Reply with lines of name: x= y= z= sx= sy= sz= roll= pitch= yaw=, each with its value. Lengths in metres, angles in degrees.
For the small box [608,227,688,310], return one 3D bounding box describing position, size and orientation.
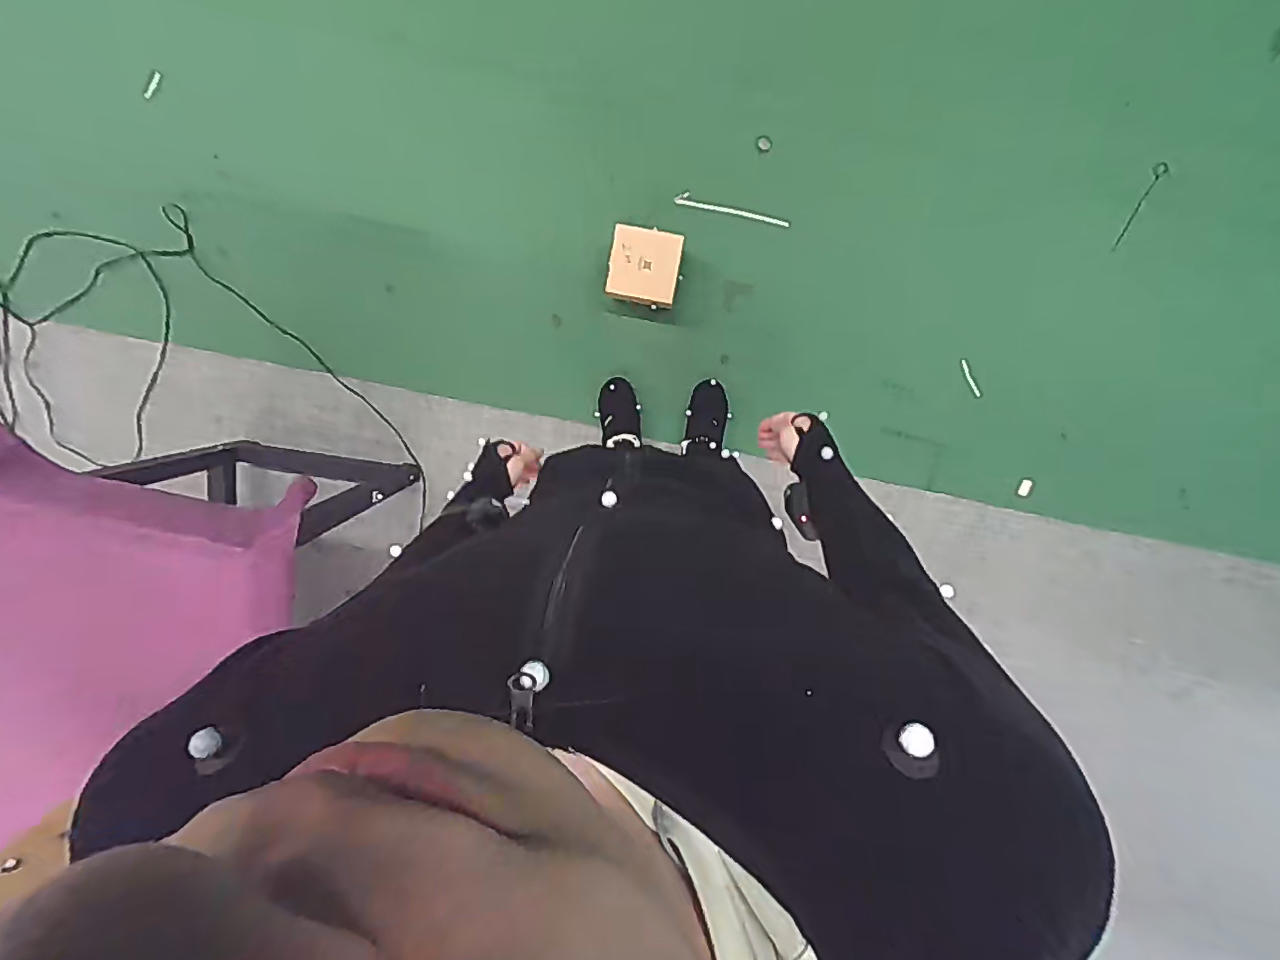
small box: x=0.023 y=-0.551 z=1.432 sx=0.179 sy=0.176 sz=0.168 roll=11 pitch=103 yaw=1
